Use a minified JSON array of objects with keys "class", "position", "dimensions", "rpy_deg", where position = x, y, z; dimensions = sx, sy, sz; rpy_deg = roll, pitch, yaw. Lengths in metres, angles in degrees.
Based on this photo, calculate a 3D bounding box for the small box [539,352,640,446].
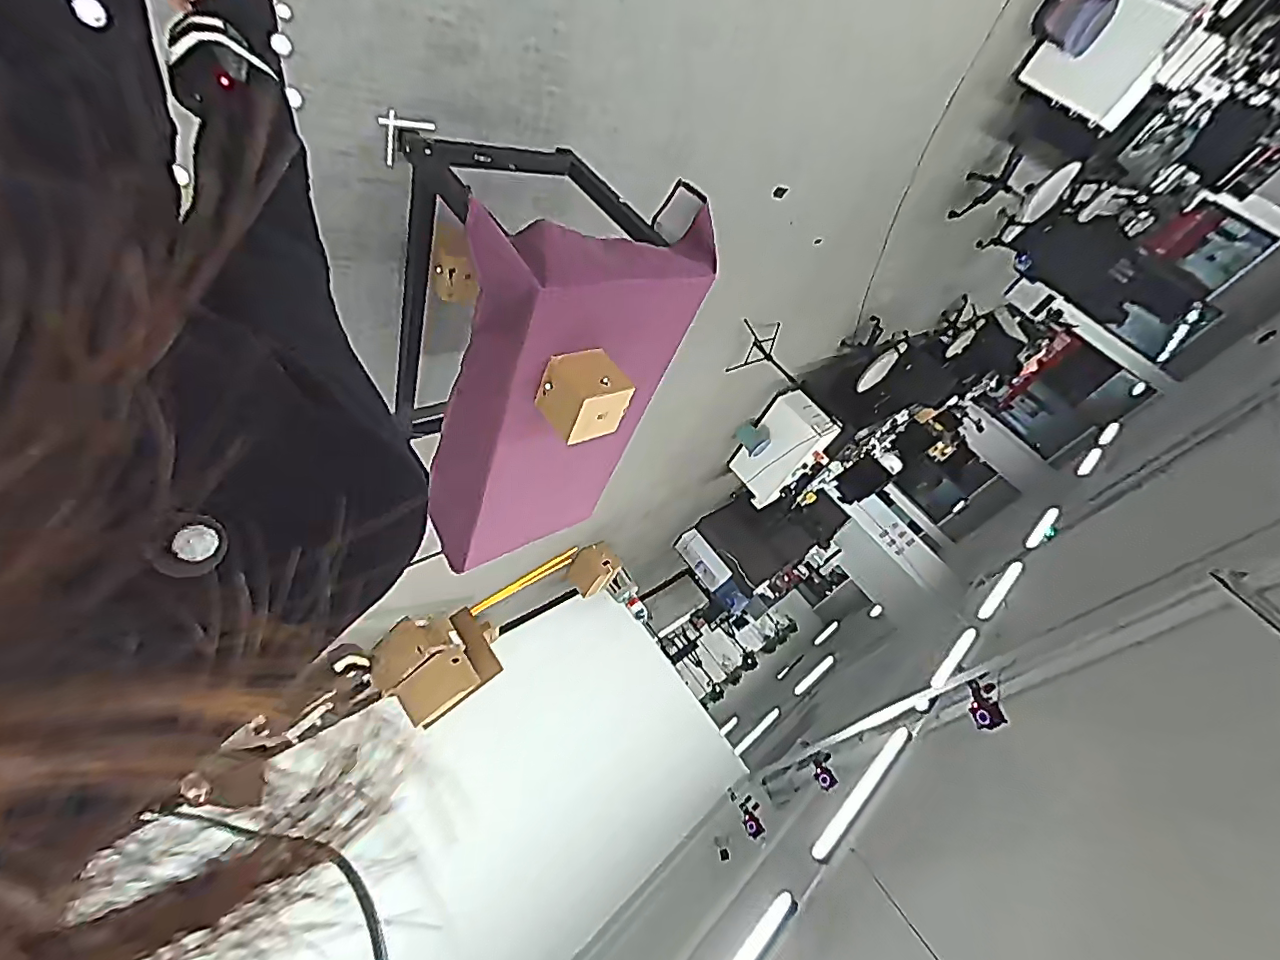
[{"class":"small box","position":[-0.137,-0.221,1.431],"dimensions":[0.179,0.176,0.168],"rpy_deg":[-21,153,-40]}]
